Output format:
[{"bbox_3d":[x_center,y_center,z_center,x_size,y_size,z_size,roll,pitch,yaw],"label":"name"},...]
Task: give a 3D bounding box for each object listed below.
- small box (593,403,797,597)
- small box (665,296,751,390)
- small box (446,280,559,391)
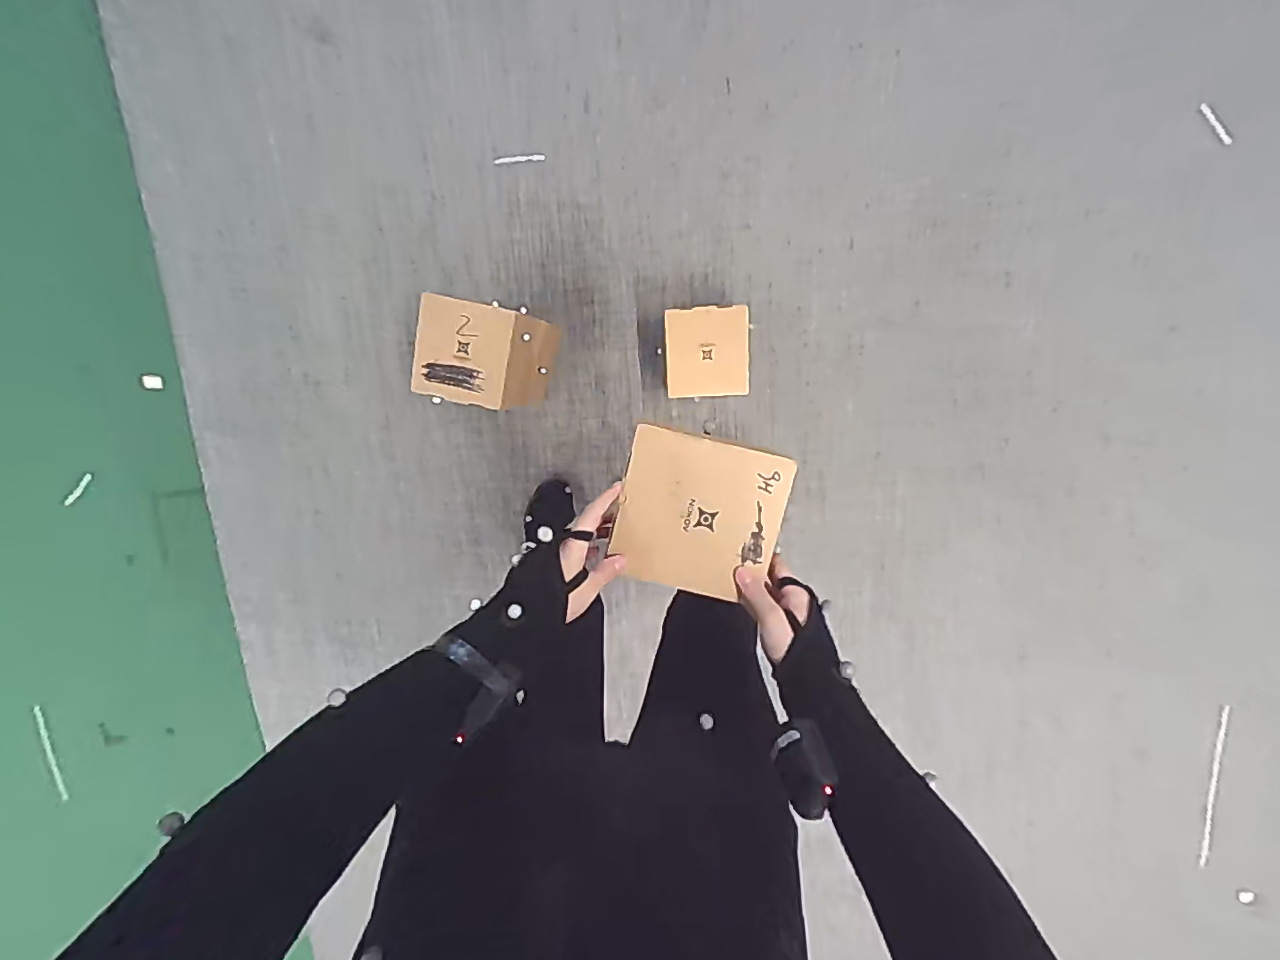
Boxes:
[{"bbox_3d":[0.058,0.013,0.633,0.179,0.176,0.168,15,98,1],"label":"small box"},{"bbox_3d":[0.138,-0.283,1.126,0.168,0.176,0.179,0,102,4],"label":"small box"},{"bbox_3d":[-0.284,-0.301,1.148,0.168,0.176,0.179,19,103,-1],"label":"small box"}]
